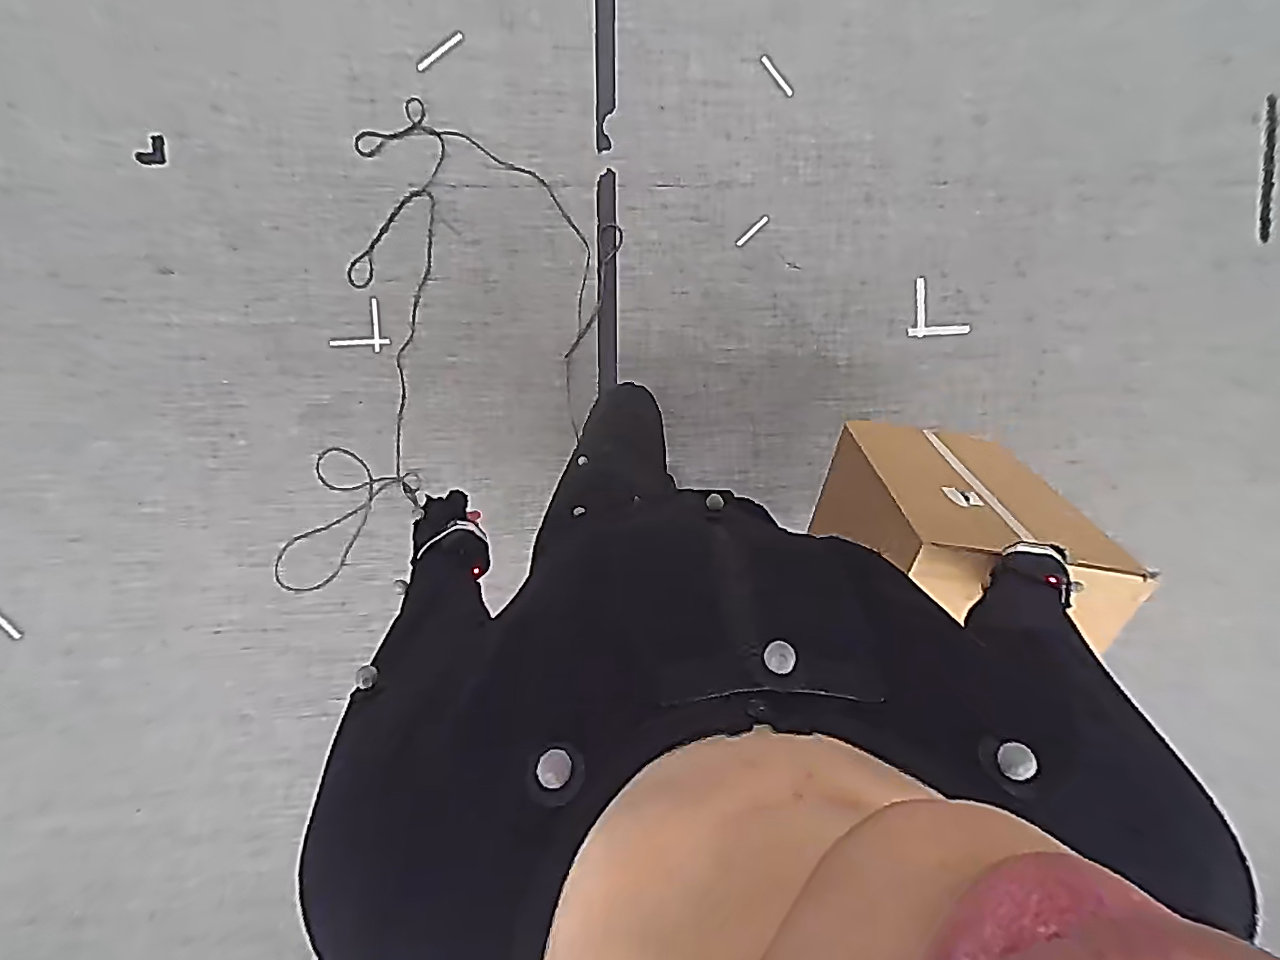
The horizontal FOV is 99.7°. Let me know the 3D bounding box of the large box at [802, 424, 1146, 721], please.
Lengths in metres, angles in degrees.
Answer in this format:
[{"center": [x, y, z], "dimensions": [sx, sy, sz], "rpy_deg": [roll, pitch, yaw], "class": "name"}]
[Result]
[{"center": [0.517, 0.141, 0.963], "dimensions": [0.320, 0.408, 0.320], "rpy_deg": [9, 120, 0], "class": "large box"}]
